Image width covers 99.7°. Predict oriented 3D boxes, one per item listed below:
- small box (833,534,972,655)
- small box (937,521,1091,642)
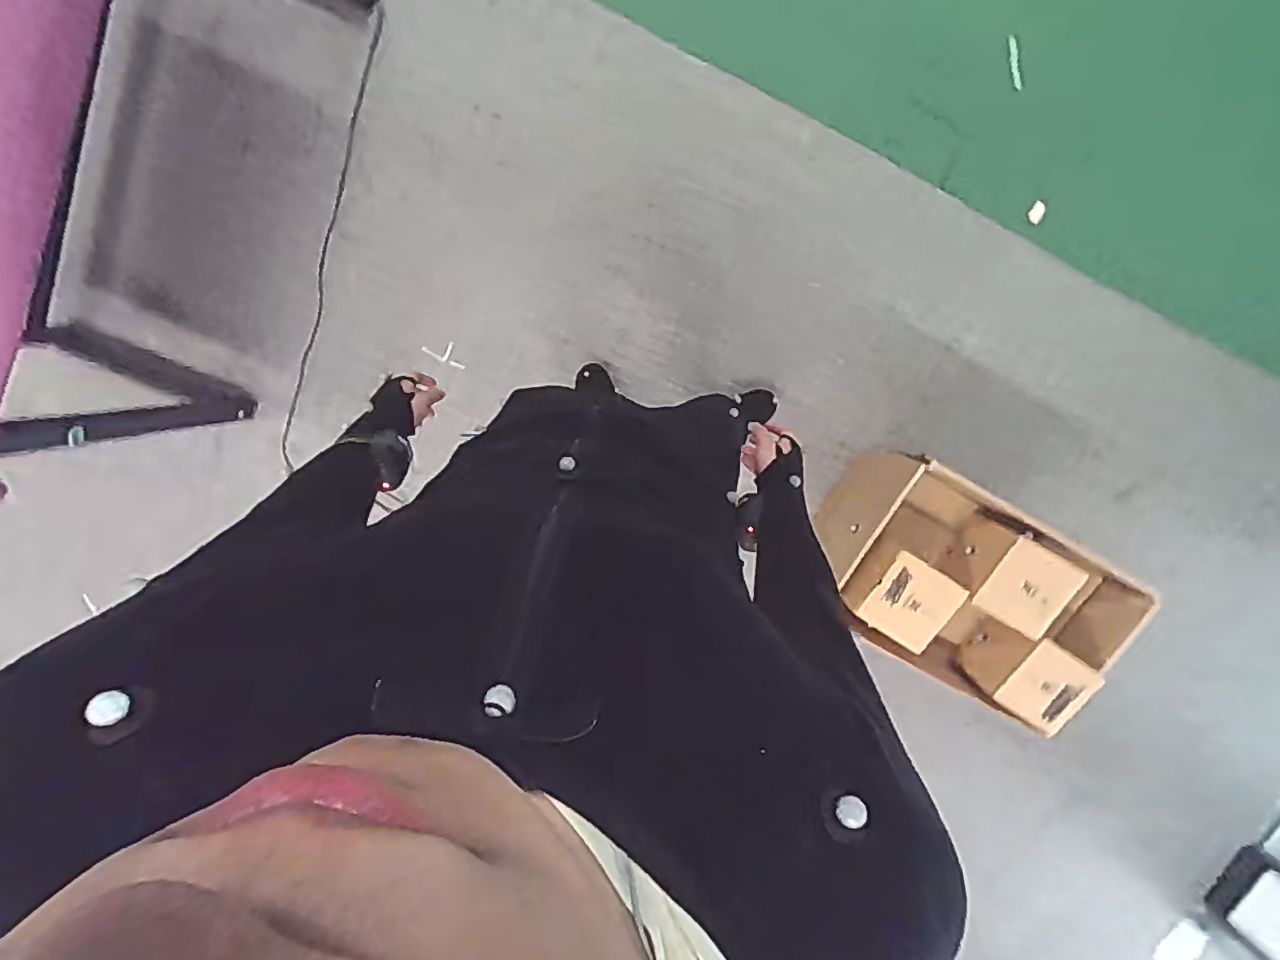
[{"bbox_3d":[0.552,0.235,1.167,0.179,0.176,0.168,33,101,-6],"label":"small box"},{"bbox_3d":[0.784,0.206,1.159,0.179,0.176,0.168,30,102,-6],"label":"small box"}]
